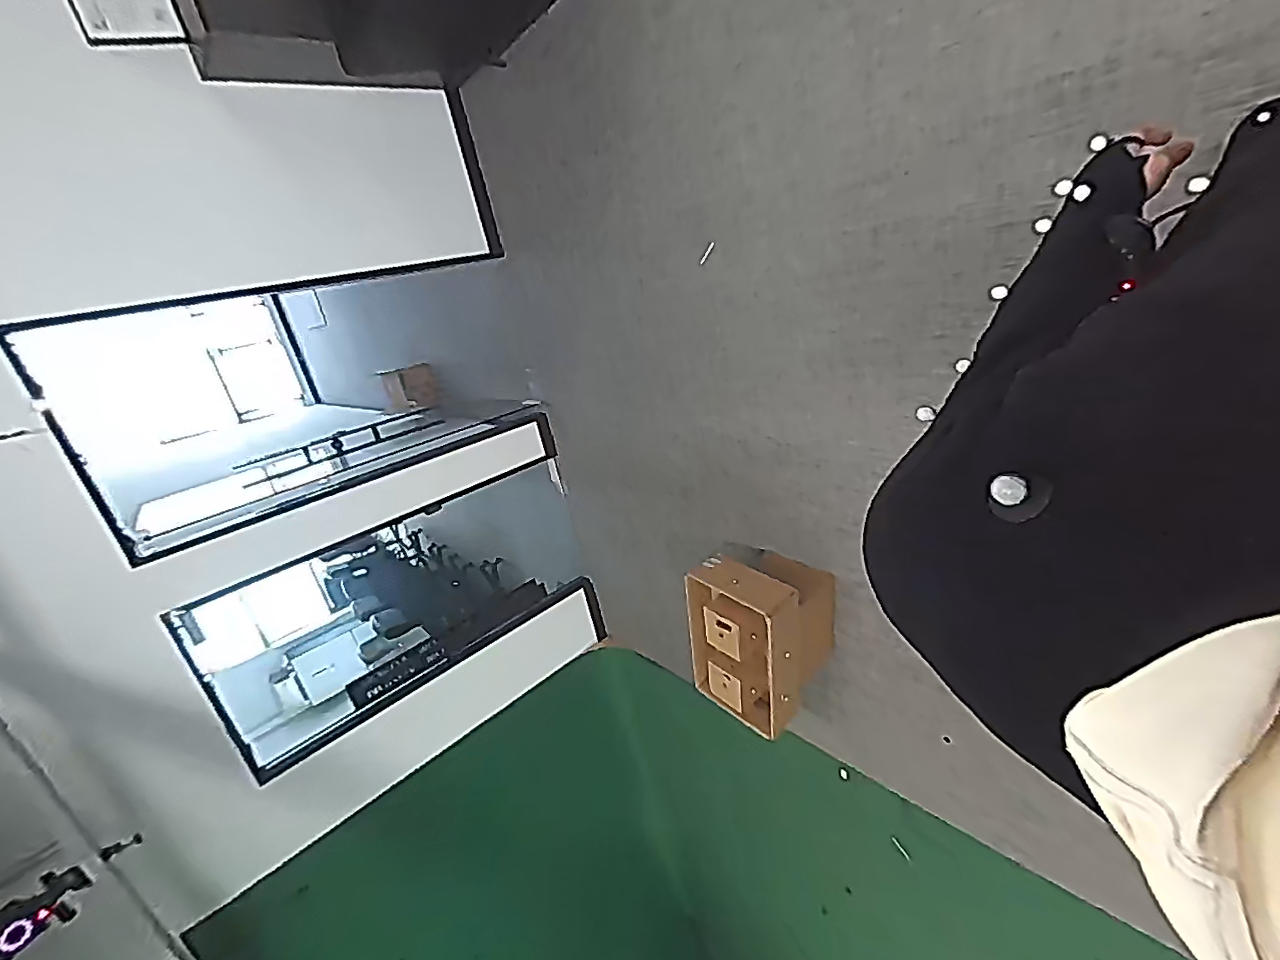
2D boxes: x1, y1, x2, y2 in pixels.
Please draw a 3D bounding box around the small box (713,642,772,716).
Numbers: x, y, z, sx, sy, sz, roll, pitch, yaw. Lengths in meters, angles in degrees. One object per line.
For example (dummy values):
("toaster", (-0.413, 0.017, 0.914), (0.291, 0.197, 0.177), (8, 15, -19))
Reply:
("small box", (0.410, 0.783, 2.144), (0.168, 0.176, 0.179), (21, 128, 46))
